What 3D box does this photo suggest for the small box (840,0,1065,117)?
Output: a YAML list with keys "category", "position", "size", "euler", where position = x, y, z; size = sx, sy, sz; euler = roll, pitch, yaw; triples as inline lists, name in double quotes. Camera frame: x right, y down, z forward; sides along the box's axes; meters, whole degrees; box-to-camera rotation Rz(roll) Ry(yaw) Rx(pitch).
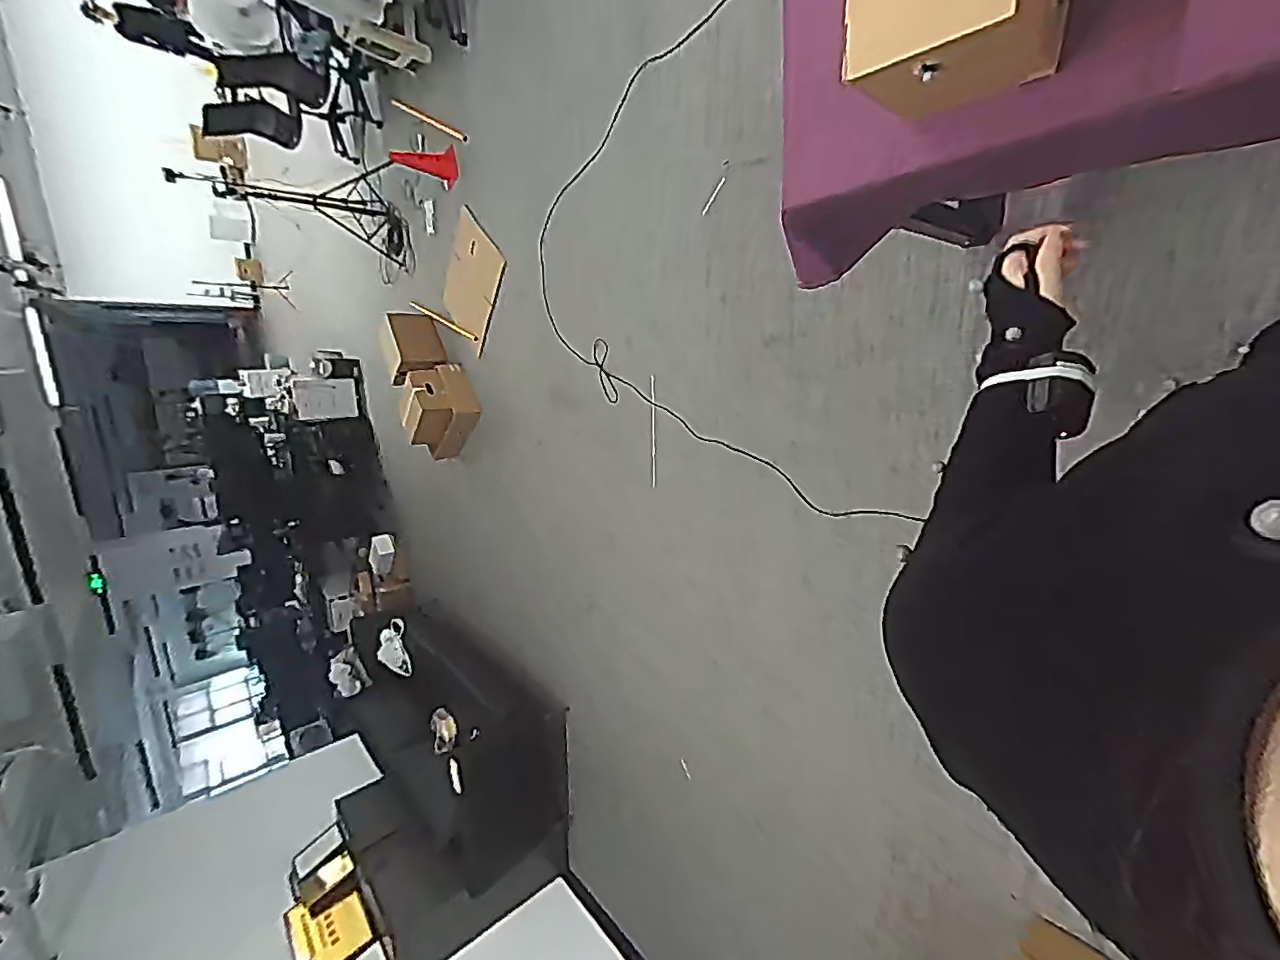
- category: "small box"
  position: [0.352, -0.540, 0.606]
  size: [0.179, 0.176, 0.168]
  euler: [14, 110, 46]
